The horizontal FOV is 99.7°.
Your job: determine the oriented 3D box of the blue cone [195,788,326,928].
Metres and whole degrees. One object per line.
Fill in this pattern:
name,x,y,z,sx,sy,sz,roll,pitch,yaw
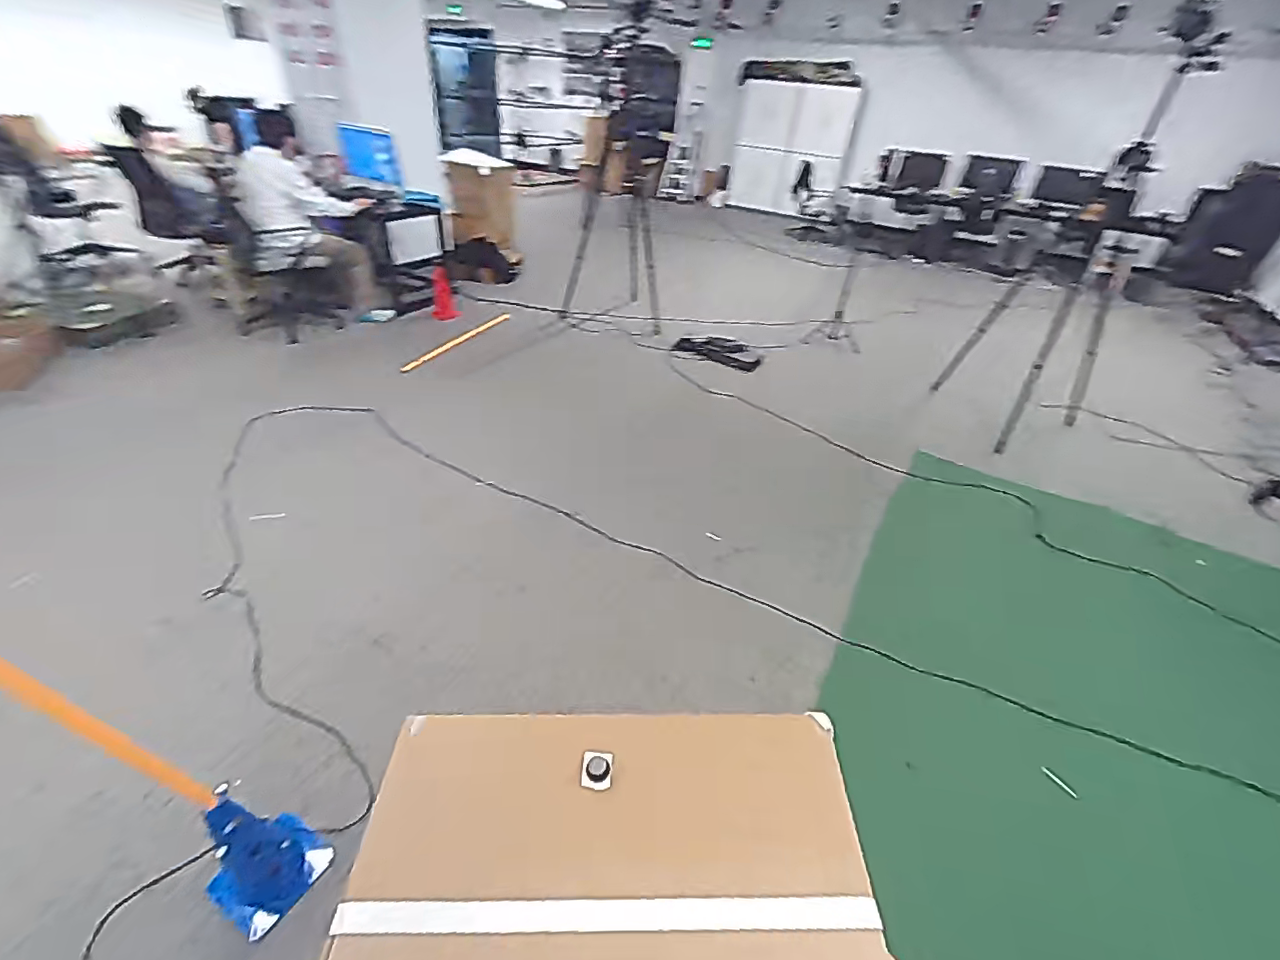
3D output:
blue cone,-0.845,0.765,1.153,0.192,0.380,0.193,21,40,21
